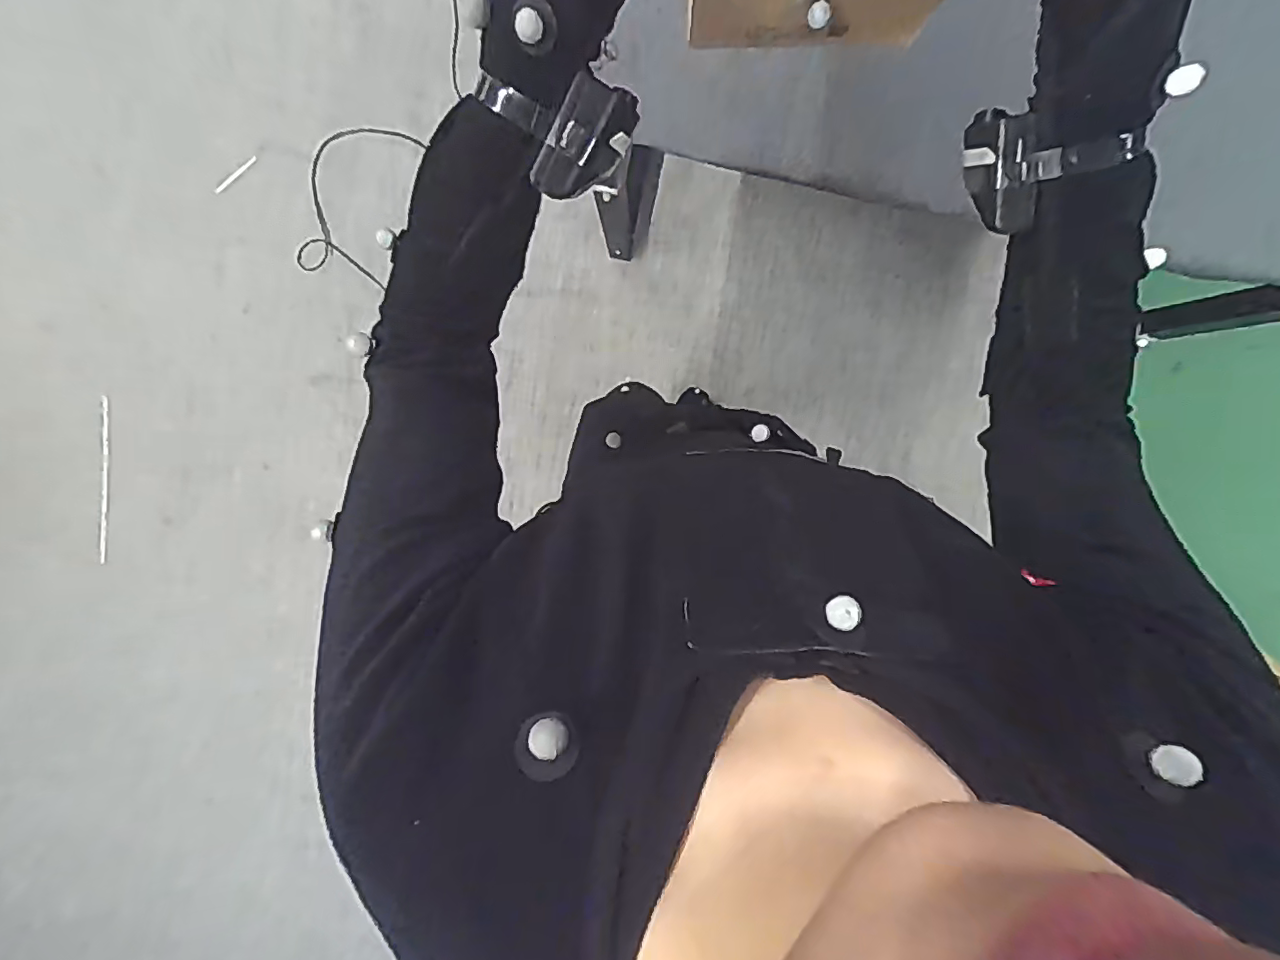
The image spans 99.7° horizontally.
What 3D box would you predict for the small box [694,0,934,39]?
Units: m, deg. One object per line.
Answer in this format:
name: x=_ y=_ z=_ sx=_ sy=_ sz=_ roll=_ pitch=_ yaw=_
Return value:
small box: x=0.117 y=-0.394 z=0.300 sx=0.168 sy=0.176 sz=0.179 roll=0 pitch=101 yaw=2
